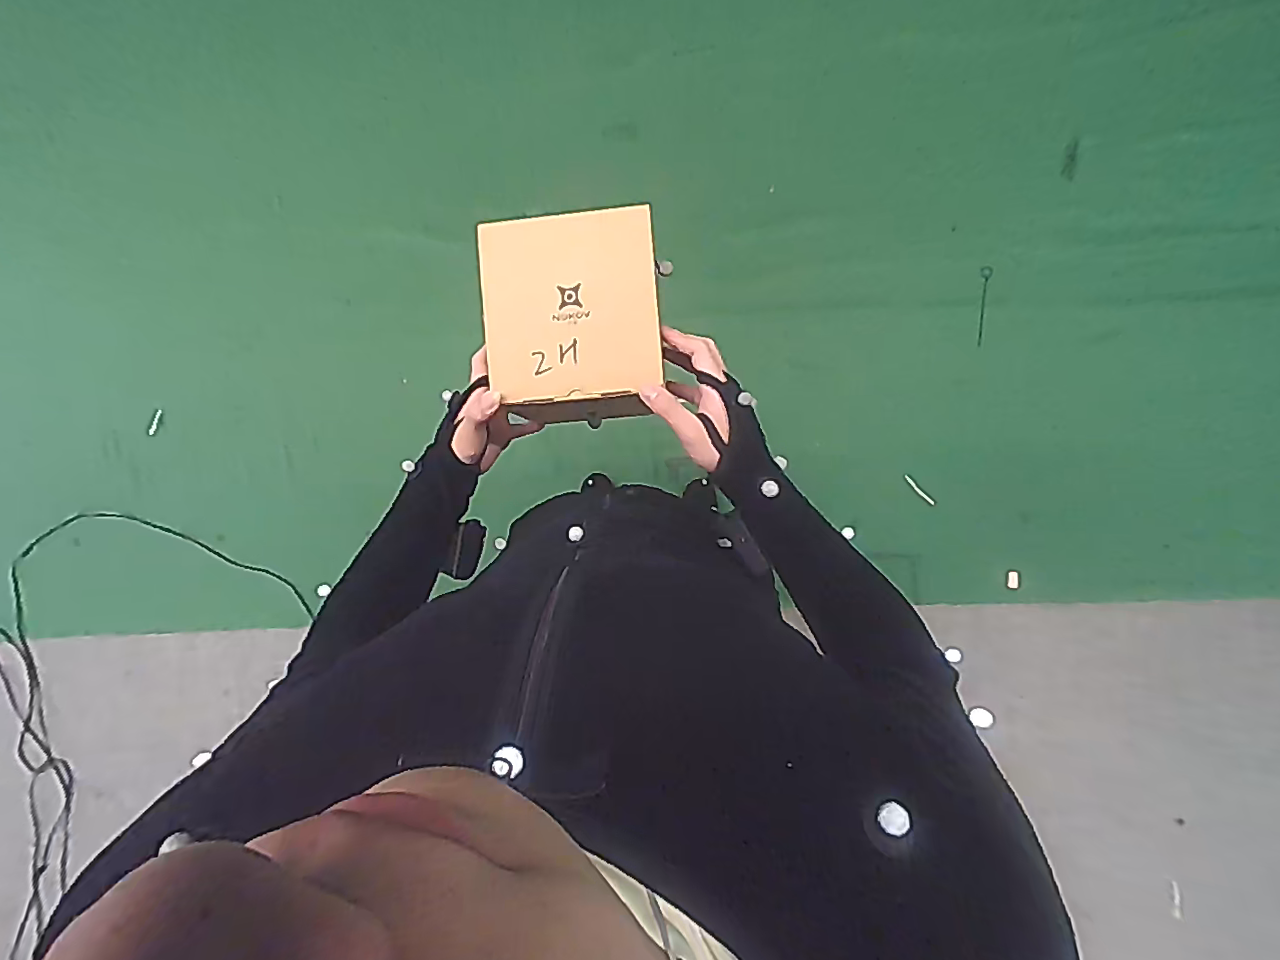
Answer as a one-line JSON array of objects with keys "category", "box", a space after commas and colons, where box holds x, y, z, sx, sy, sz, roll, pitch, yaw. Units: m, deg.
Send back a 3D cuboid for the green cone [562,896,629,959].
[{"category": "green cone", "box": [-0.148, 1.367, 1.470, 0.202, 0.368, 0.200, -2, 90, 4]}]
